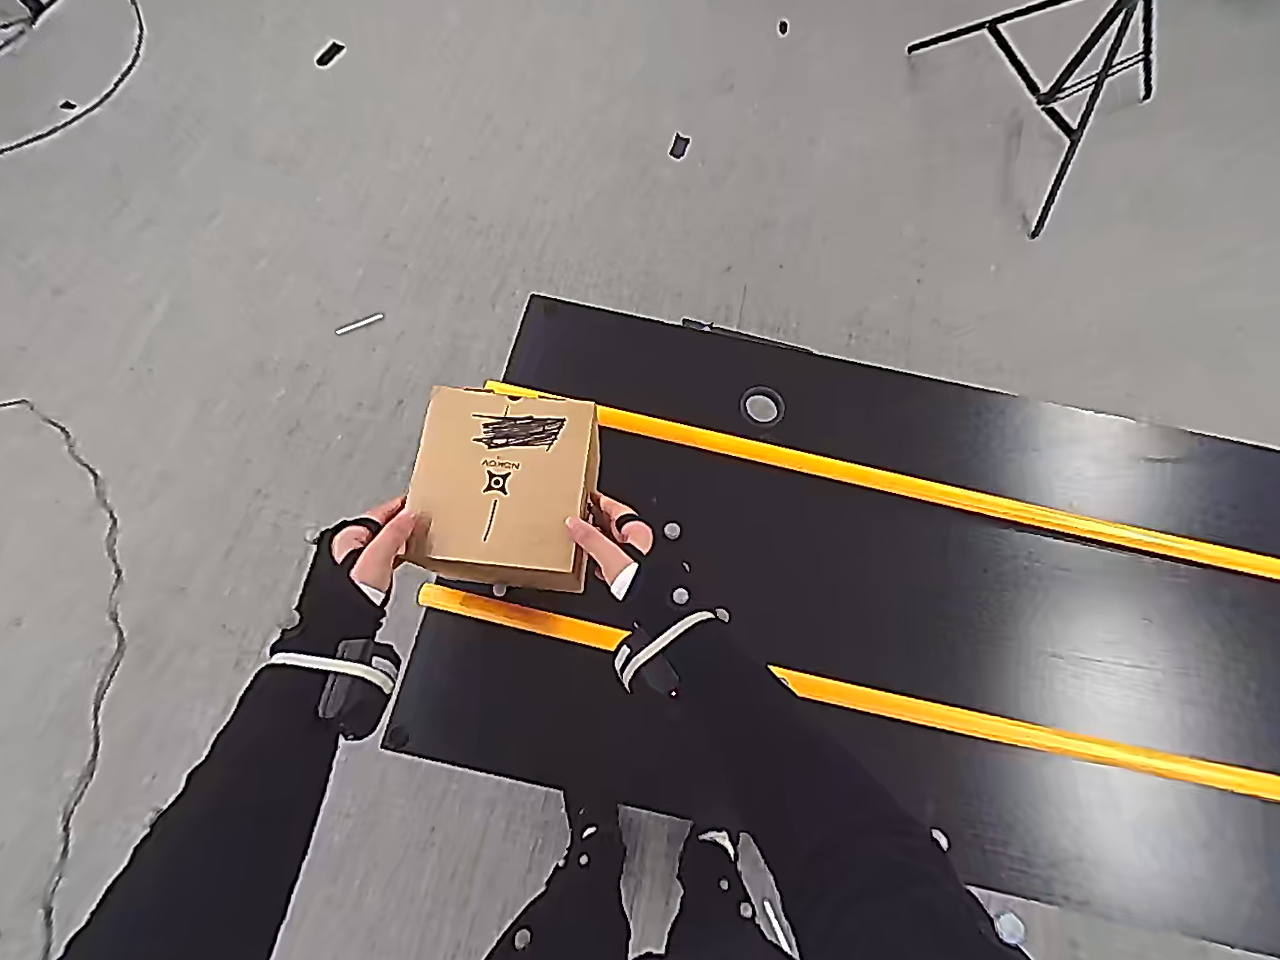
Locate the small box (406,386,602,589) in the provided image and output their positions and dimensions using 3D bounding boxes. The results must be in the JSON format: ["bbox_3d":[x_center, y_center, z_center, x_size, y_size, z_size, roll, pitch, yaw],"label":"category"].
[{"bbox_3d":[-0.134,0.018,0.604,0.168,0.176,0.179,6,72,-1],"label":"small box"}]
